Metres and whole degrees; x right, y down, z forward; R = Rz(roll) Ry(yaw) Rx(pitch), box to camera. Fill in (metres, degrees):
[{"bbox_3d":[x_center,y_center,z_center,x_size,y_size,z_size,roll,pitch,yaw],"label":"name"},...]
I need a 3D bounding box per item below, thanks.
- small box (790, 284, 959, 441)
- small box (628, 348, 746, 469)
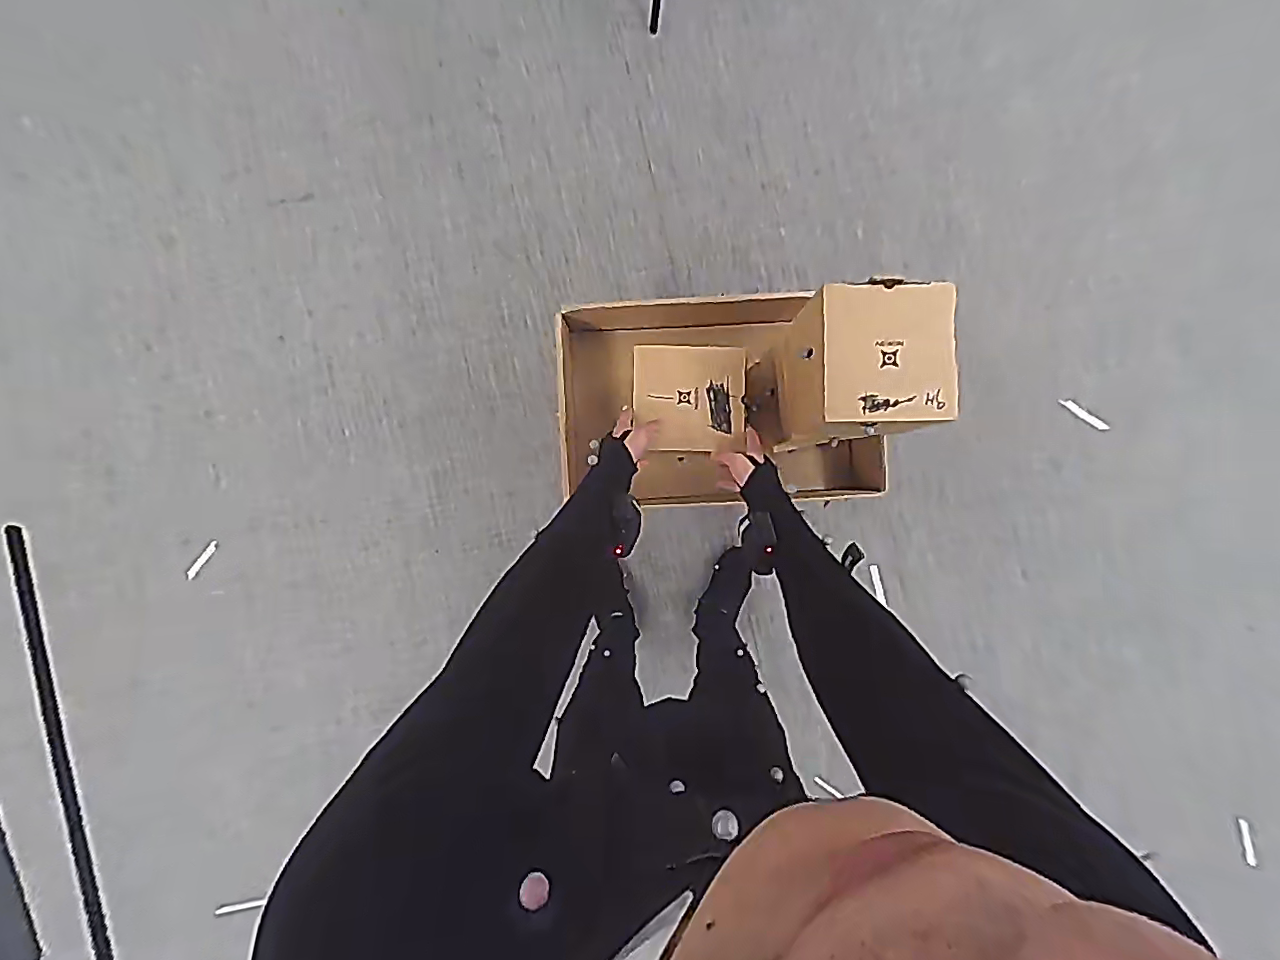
[{"bbox_3d":[0.307,-0.151,0.740,0.168,0.176,0.179,0,88,2],"label":"small box"},{"bbox_3d":[0.071,-0.110,0.892,0.179,0.176,0.168,1,85,0],"label":"small box"}]
